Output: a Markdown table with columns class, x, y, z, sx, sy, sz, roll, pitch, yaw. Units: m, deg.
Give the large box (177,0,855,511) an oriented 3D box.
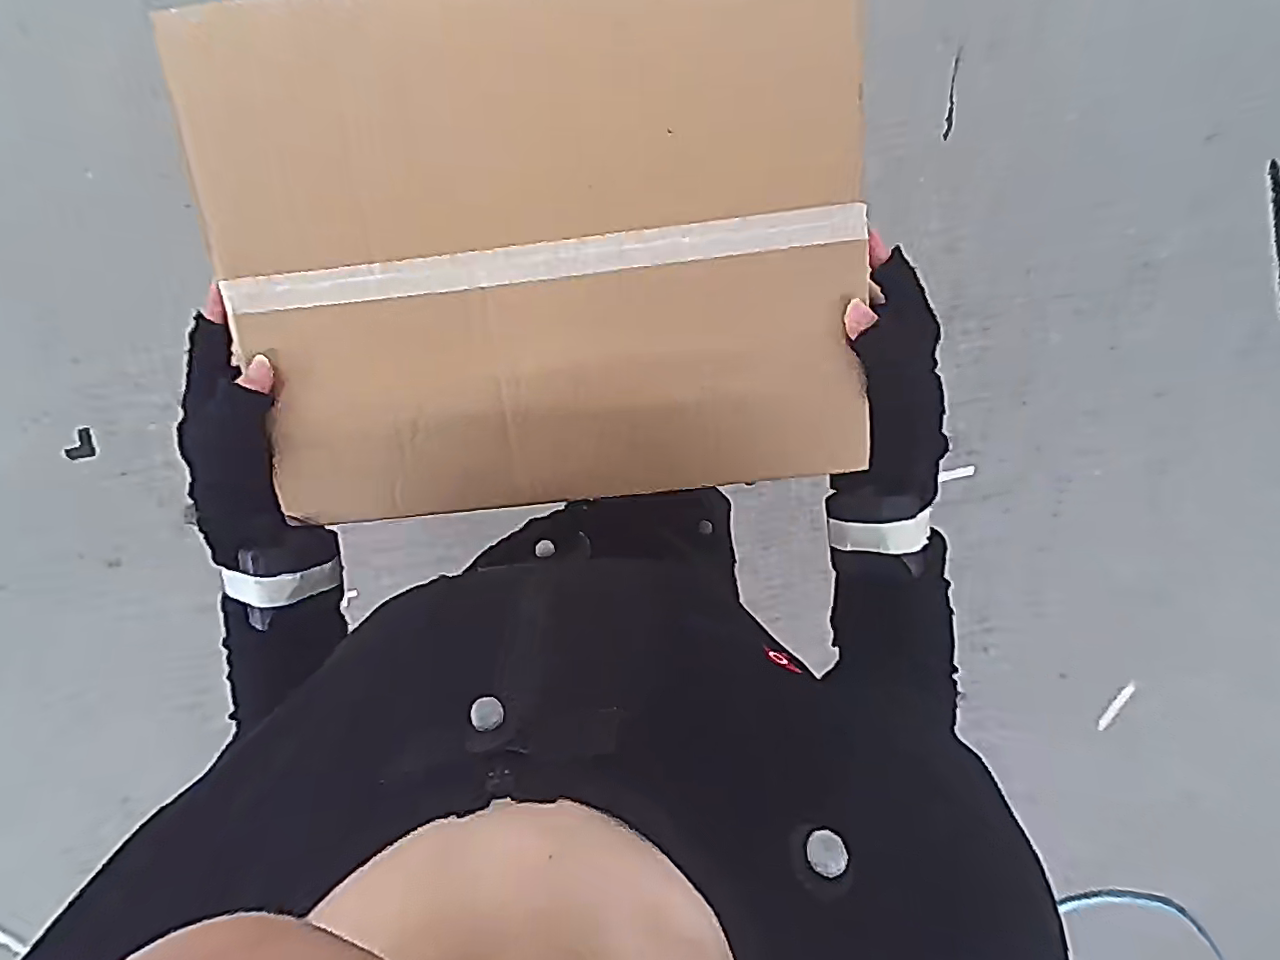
| class | x | y | z | sx | sy | sz | roll | pitch | yaw |
| --- | --- | --- | --- | --- | --- | --- | --- | --- | --- |
| large box | -0.061 | -0.183 | 0.493 | 0.408 | 0.320 | 0.320 | -6 | 103 | 2 |
